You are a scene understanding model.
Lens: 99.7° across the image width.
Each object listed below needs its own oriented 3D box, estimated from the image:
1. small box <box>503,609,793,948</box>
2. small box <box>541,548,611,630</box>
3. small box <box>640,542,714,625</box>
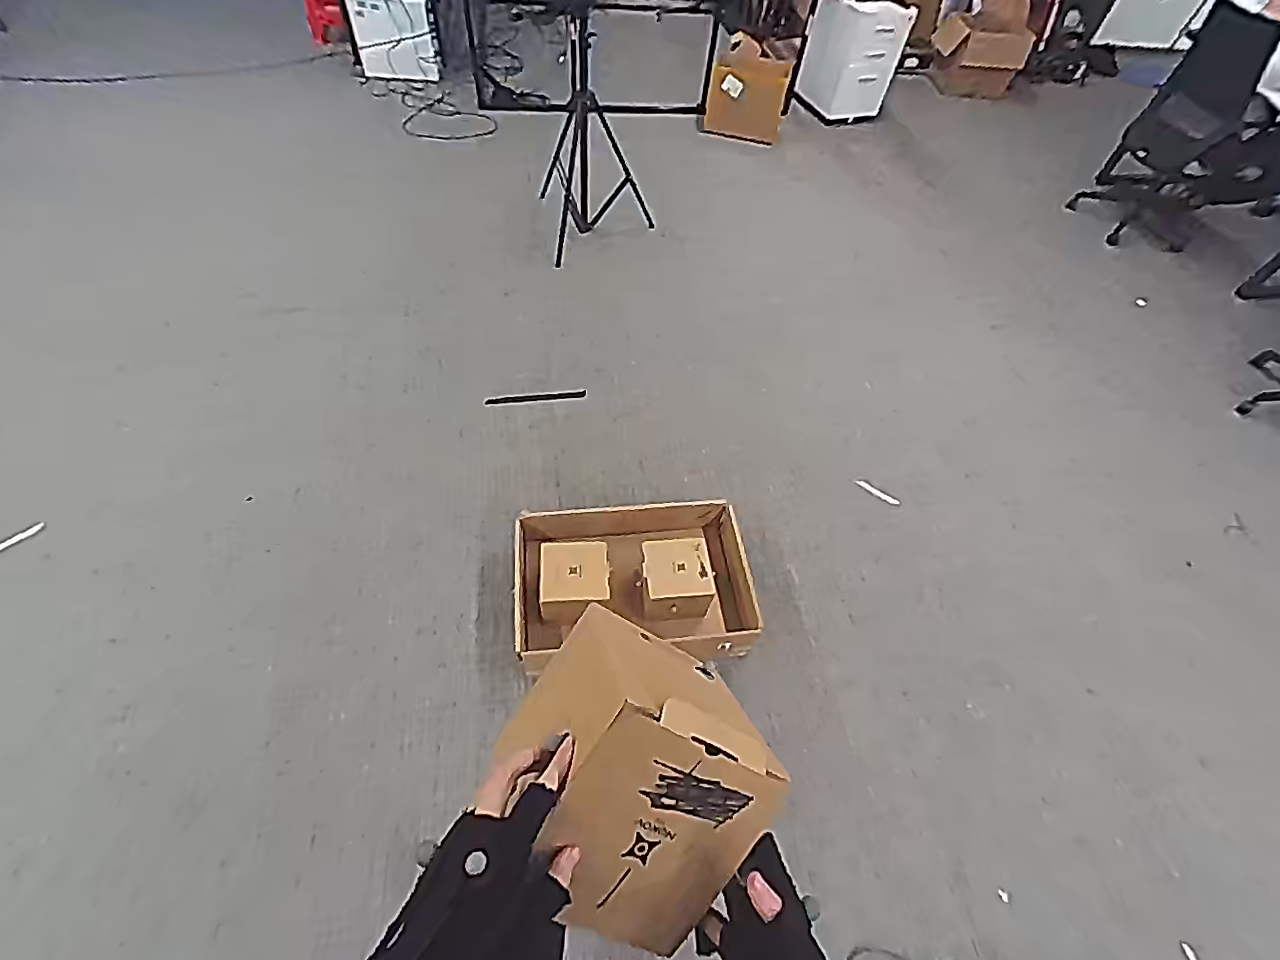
[{"bbox_3d":[-0.007,0.245,0.483,0.168,0.176,0.179,33,92,-16],"label":"small box"},{"bbox_3d":[-0.172,0.294,1.447,0.179,0.176,0.168,-1,54,-7],"label":"small box"},{"bbox_3d":[0.094,0.288,1.478,0.179,0.176,0.168,-4,56,-6],"label":"small box"}]
